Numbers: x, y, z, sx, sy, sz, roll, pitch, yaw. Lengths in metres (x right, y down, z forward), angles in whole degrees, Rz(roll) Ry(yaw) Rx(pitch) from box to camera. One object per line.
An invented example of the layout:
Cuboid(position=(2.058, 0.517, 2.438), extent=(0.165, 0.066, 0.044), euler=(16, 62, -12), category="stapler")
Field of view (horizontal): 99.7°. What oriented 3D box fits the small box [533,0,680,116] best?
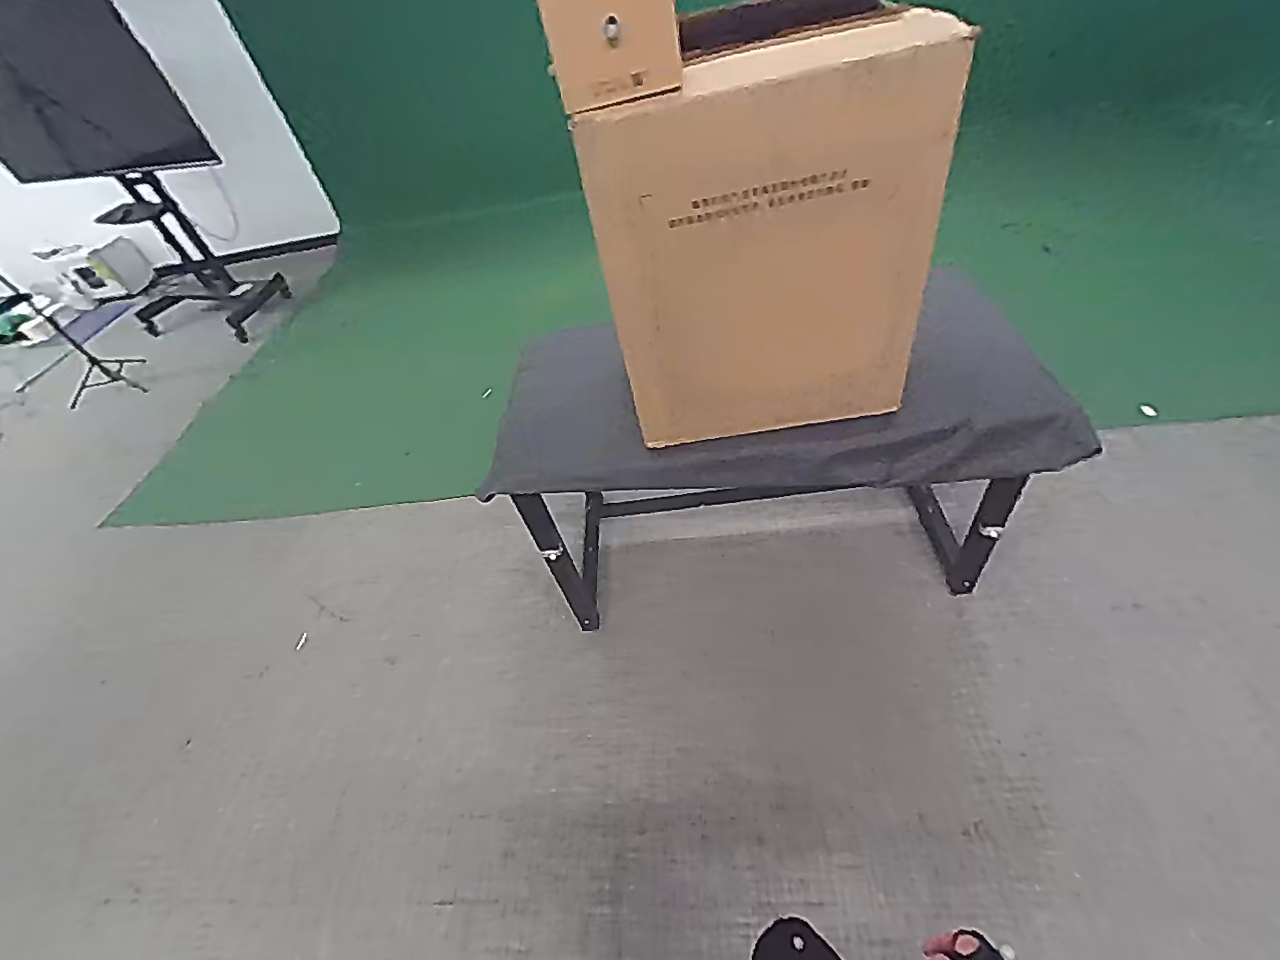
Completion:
Cuboid(position=(-0.043, -0.620, 0.733), extent=(0.168, 0.176, 0.179), euler=(-10, 47, 6), category="small box")
